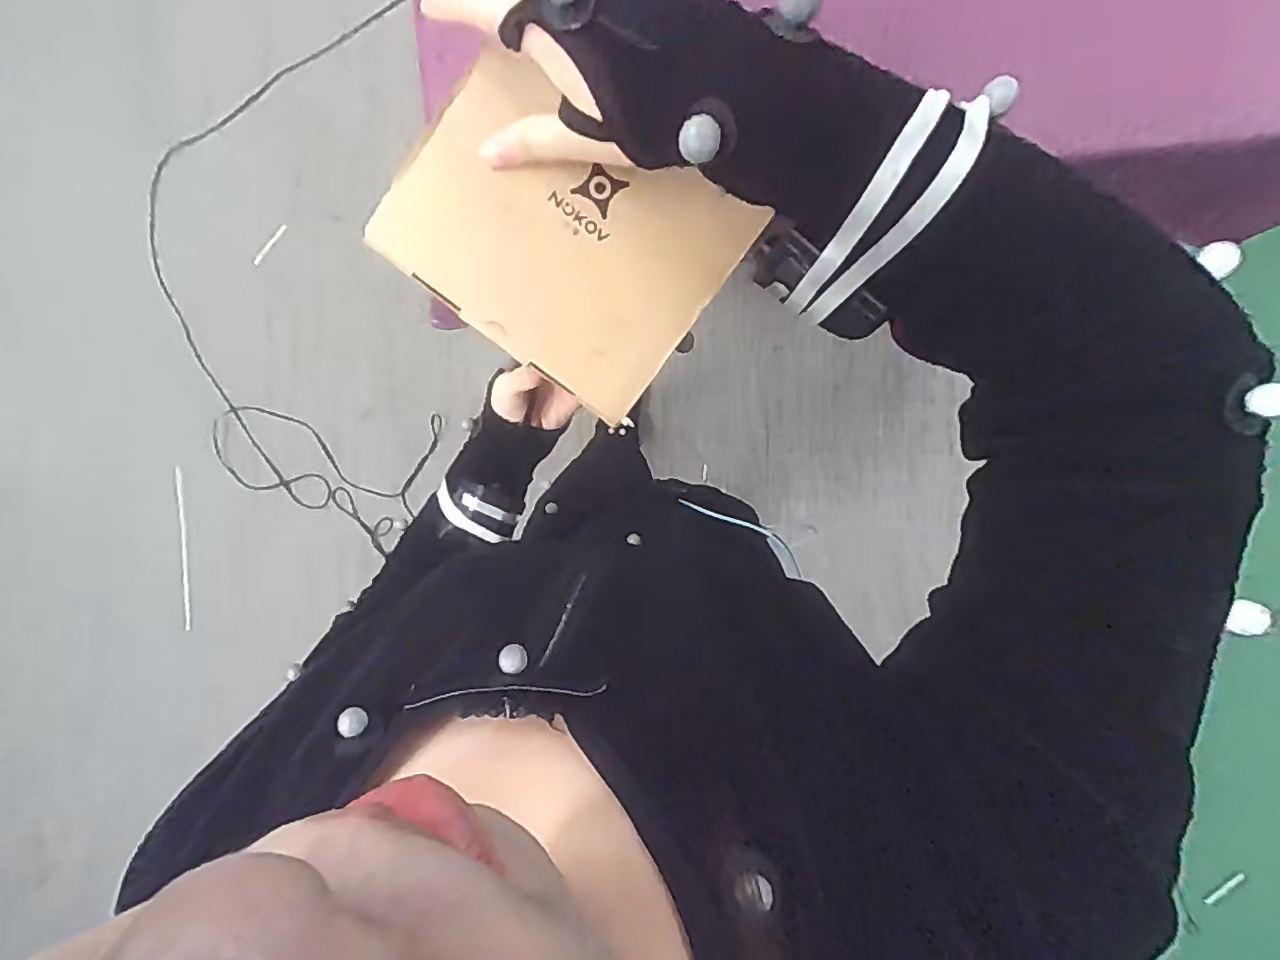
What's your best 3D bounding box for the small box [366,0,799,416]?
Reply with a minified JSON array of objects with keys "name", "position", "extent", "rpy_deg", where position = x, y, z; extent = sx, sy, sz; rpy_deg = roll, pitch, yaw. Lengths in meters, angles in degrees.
[{"name":"small box","position":[-0.034,-0.165,0.363],"extent":[0.168,0.176,0.179],"rpy_deg":[38,96,-11]}]
